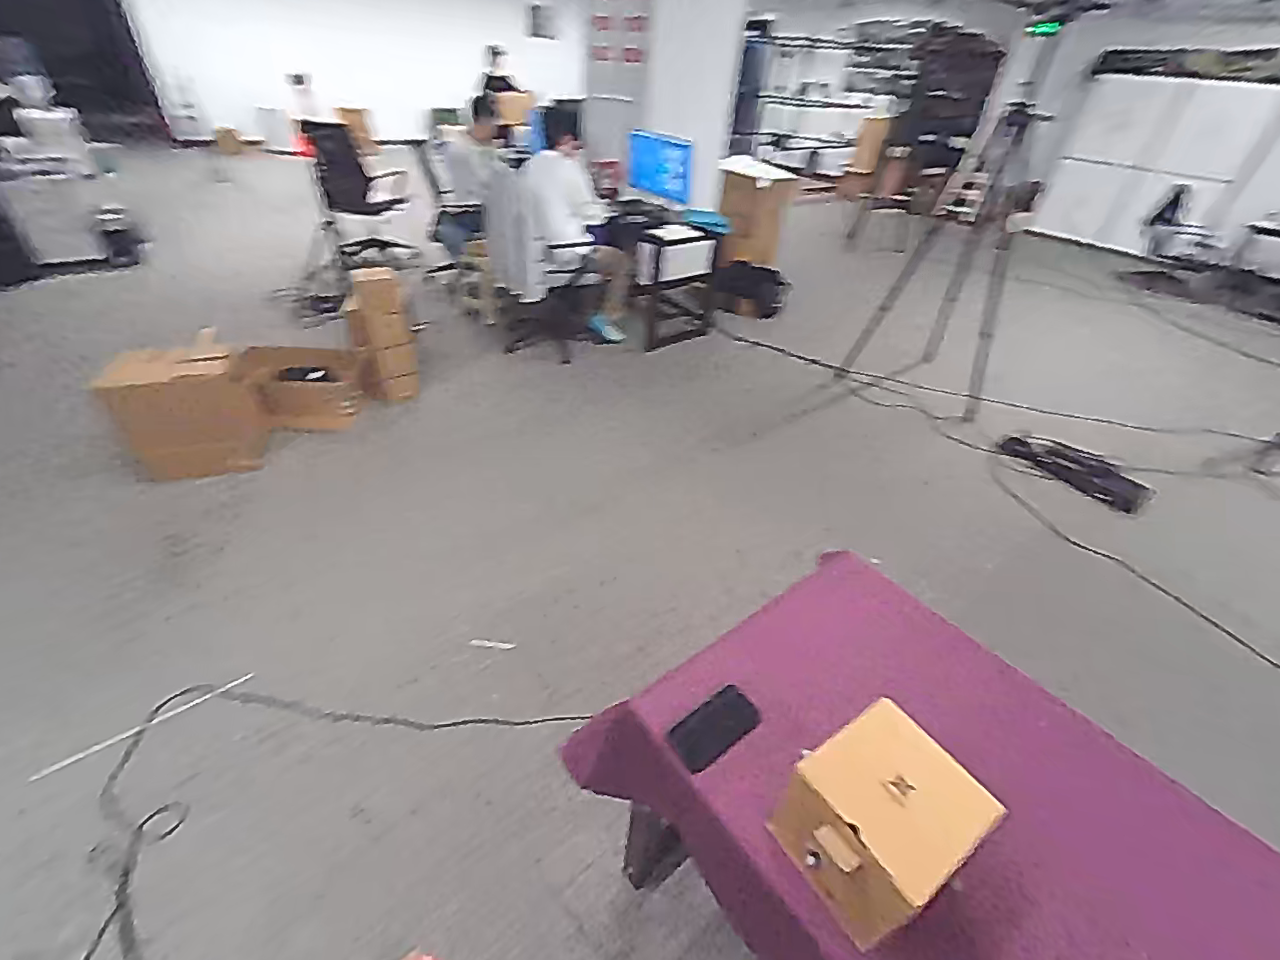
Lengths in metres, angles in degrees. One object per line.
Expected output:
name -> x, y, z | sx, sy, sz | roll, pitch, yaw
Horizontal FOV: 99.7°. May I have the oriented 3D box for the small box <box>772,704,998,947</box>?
small box -> 0.293, 0.429, 0.682 | 0.179, 0.176, 0.168 | -19, 44, -28
